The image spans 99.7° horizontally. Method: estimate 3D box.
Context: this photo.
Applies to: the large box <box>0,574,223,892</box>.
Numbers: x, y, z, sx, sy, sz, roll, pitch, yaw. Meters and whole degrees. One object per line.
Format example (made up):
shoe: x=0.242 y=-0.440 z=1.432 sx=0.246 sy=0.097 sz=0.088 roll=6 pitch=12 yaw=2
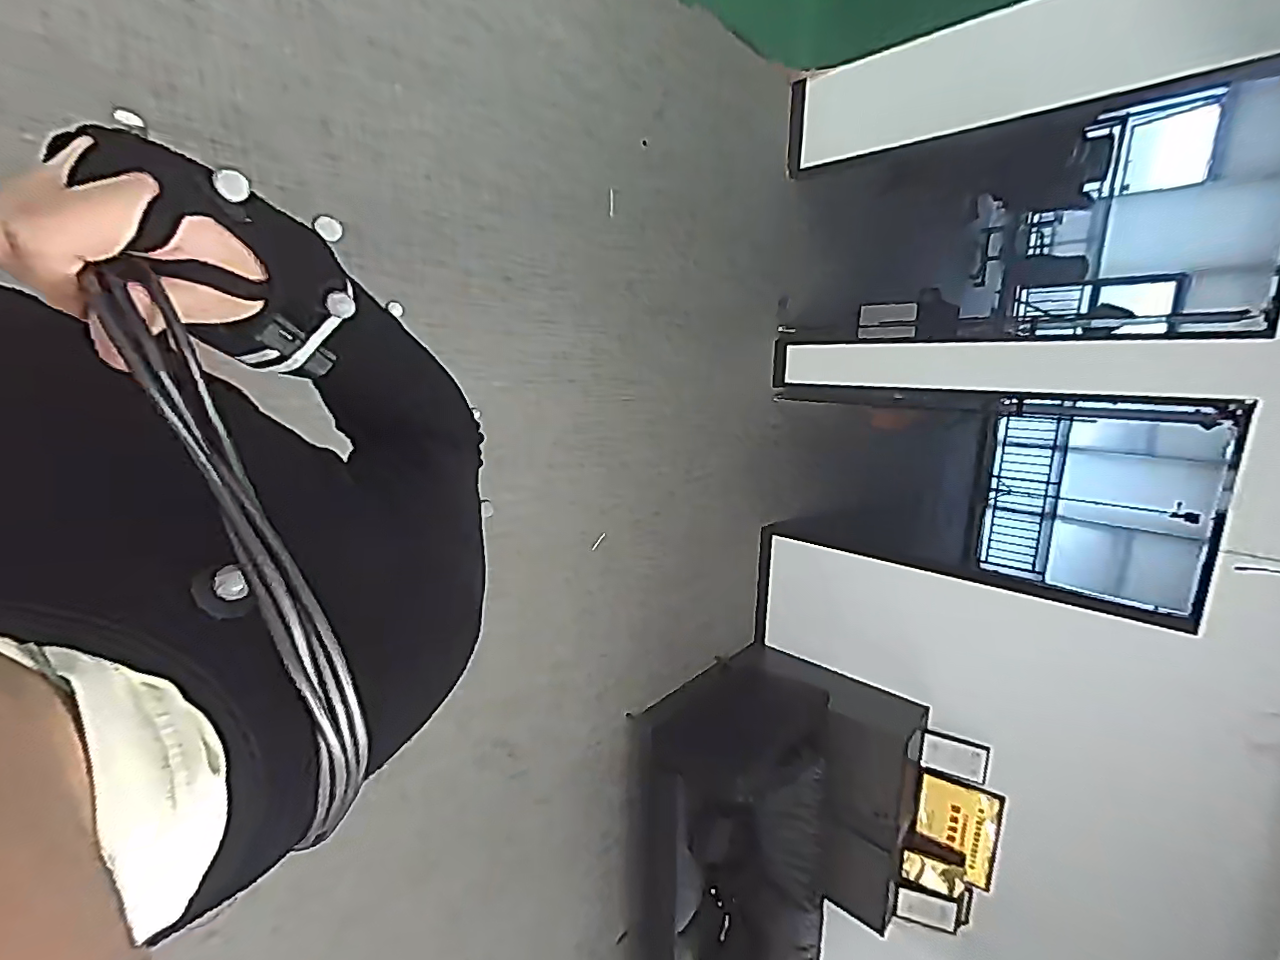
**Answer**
large box: x=-1.014 y=0.423 z=1.004 sx=0.320 sy=0.320 sz=0.408 roll=1 pitch=97 yaw=-49
